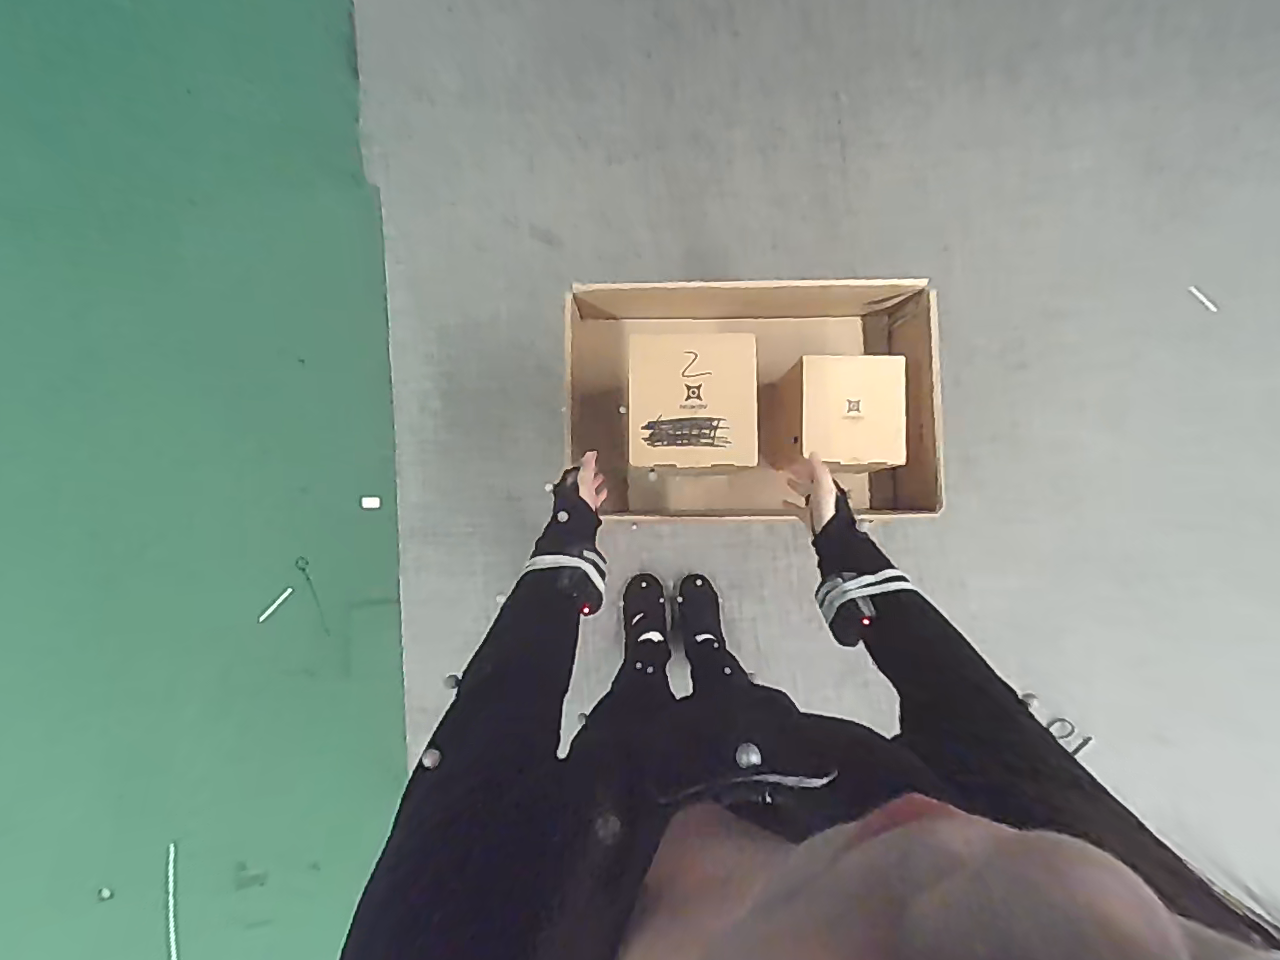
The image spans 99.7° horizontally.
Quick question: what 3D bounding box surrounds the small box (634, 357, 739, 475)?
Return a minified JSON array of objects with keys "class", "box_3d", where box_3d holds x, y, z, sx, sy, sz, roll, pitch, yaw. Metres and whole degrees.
[{"class":"small box","box_3d":[0.073,-0.103,0.935,0.168,0.176,0.179,-2,87,1]}]
